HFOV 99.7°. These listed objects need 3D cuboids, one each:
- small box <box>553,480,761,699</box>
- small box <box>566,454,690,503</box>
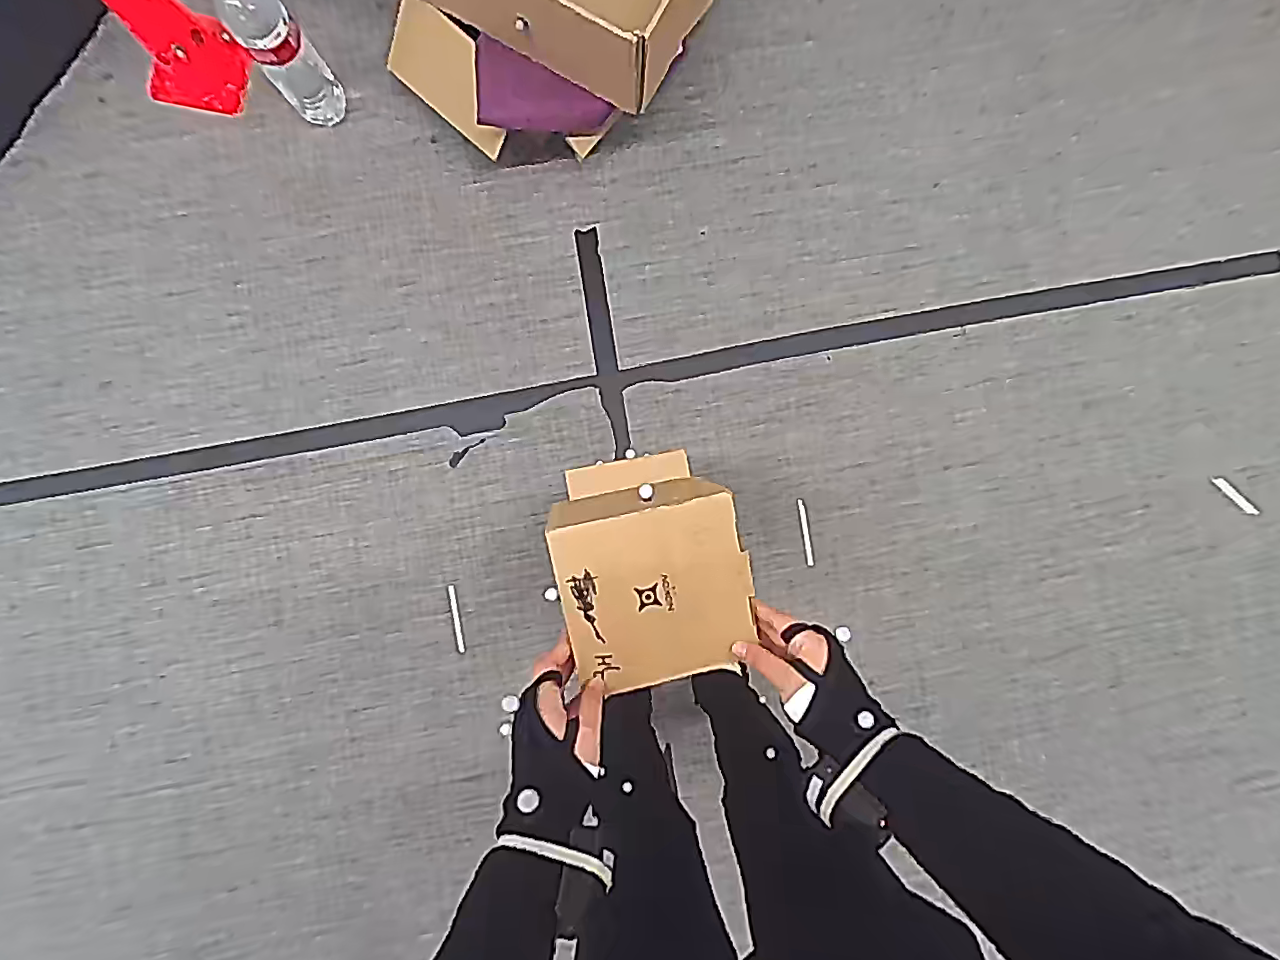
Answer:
[{"bbox_3d":[0.007,0.099,0.578,0.179,0.176,0.168,-12,96,-7],"label":"small box"},{"bbox_3d":[-0.008,0.062,0.799,0.168,0.176,0.179,-10,90,-3],"label":"small box"}]
